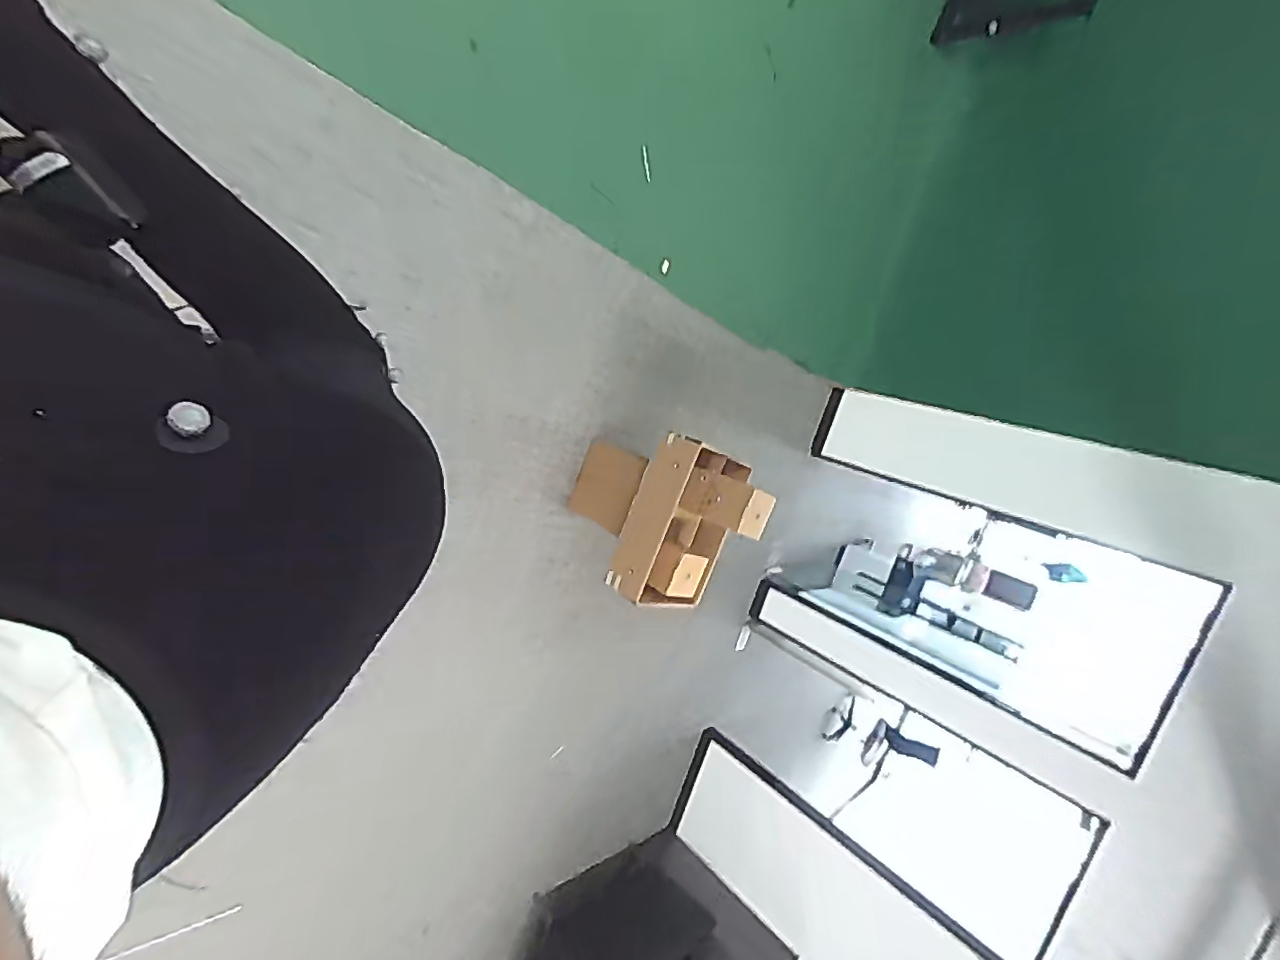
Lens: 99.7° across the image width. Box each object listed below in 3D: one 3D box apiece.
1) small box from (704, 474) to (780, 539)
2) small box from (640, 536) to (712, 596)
[{"bbox_3d":[0.359,0.091,1.908,0.179,0.176,0.168,21,93,-49],"label":"small box"},{"bbox_3d":[0.134,0.323,2.043,0.179,0.176,0.168,18,96,-48],"label":"small box"}]
